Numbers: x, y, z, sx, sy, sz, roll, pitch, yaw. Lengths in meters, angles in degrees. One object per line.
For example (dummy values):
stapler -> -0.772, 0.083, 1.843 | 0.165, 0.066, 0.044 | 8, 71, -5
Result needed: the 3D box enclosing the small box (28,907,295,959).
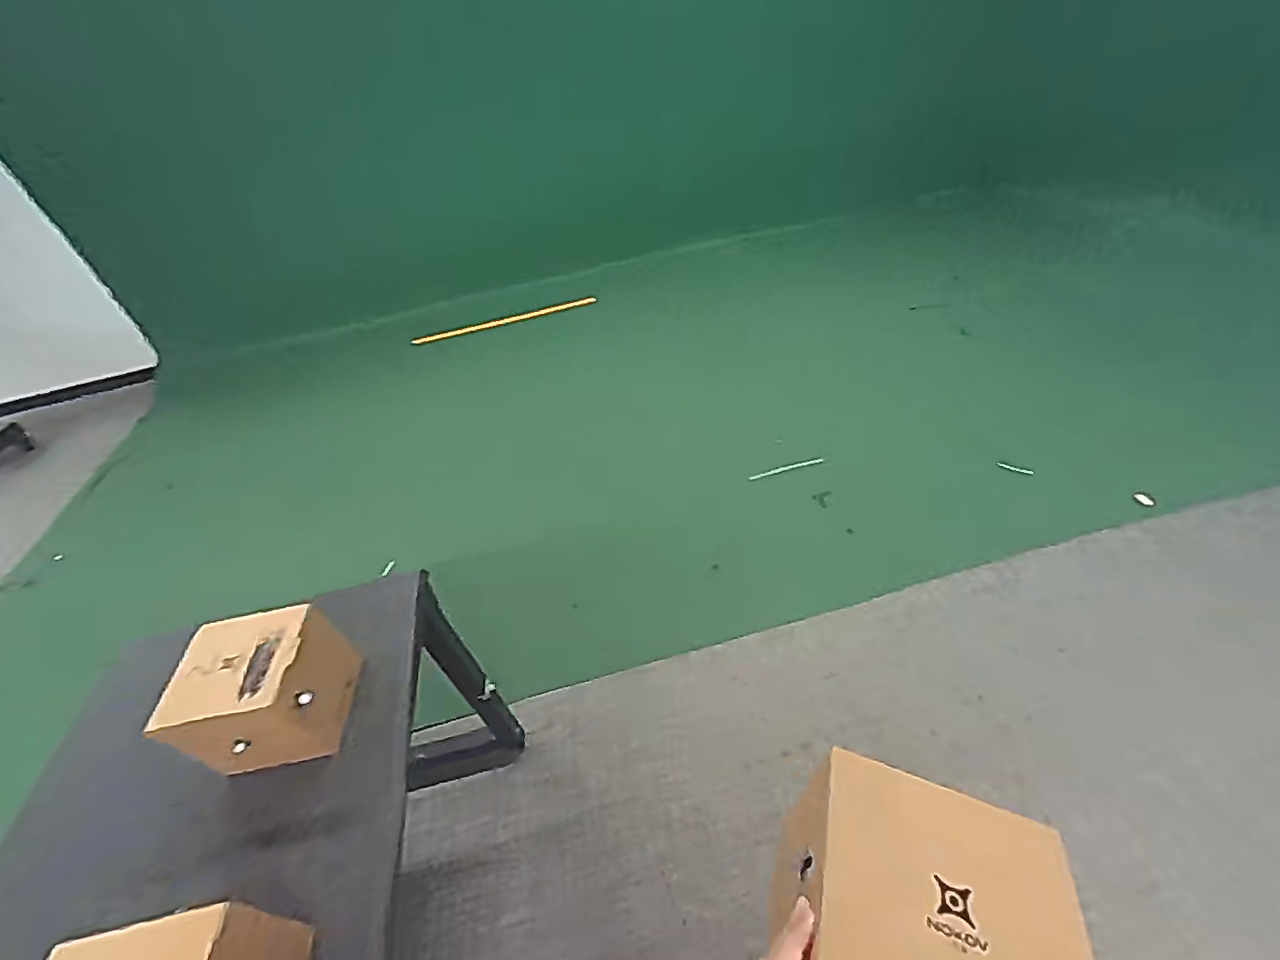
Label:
small box -> -0.483, 0.552, 0.521 | 0.179, 0.176, 0.168 | -12, 41, -4
